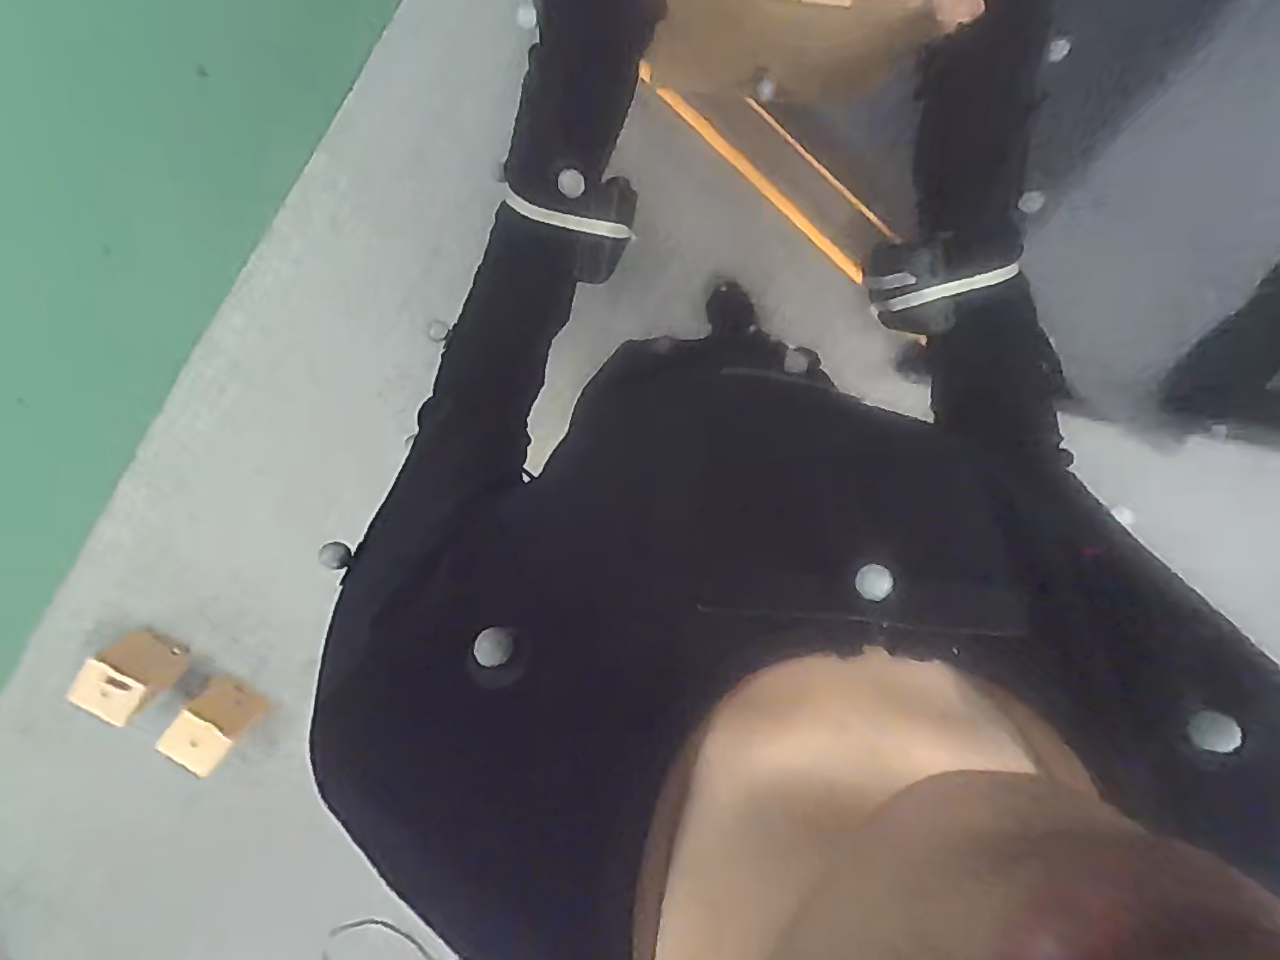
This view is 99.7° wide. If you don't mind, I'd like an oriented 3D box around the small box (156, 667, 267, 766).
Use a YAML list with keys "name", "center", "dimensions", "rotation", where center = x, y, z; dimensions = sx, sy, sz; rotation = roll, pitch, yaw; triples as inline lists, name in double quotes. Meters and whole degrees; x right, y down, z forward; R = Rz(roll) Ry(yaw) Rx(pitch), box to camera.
- name: "small box"
  center: [-1.282, 0.707, 1.631]
  dimensions: [0.168, 0.176, 0.179]
  rotation: [41, 102, -10]

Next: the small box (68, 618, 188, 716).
- name: "small box"
  center: [-1.487, 0.540, 1.585]
  dimensions: [0.168, 0.176, 0.179]
  rotation: [37, 103, -9]
